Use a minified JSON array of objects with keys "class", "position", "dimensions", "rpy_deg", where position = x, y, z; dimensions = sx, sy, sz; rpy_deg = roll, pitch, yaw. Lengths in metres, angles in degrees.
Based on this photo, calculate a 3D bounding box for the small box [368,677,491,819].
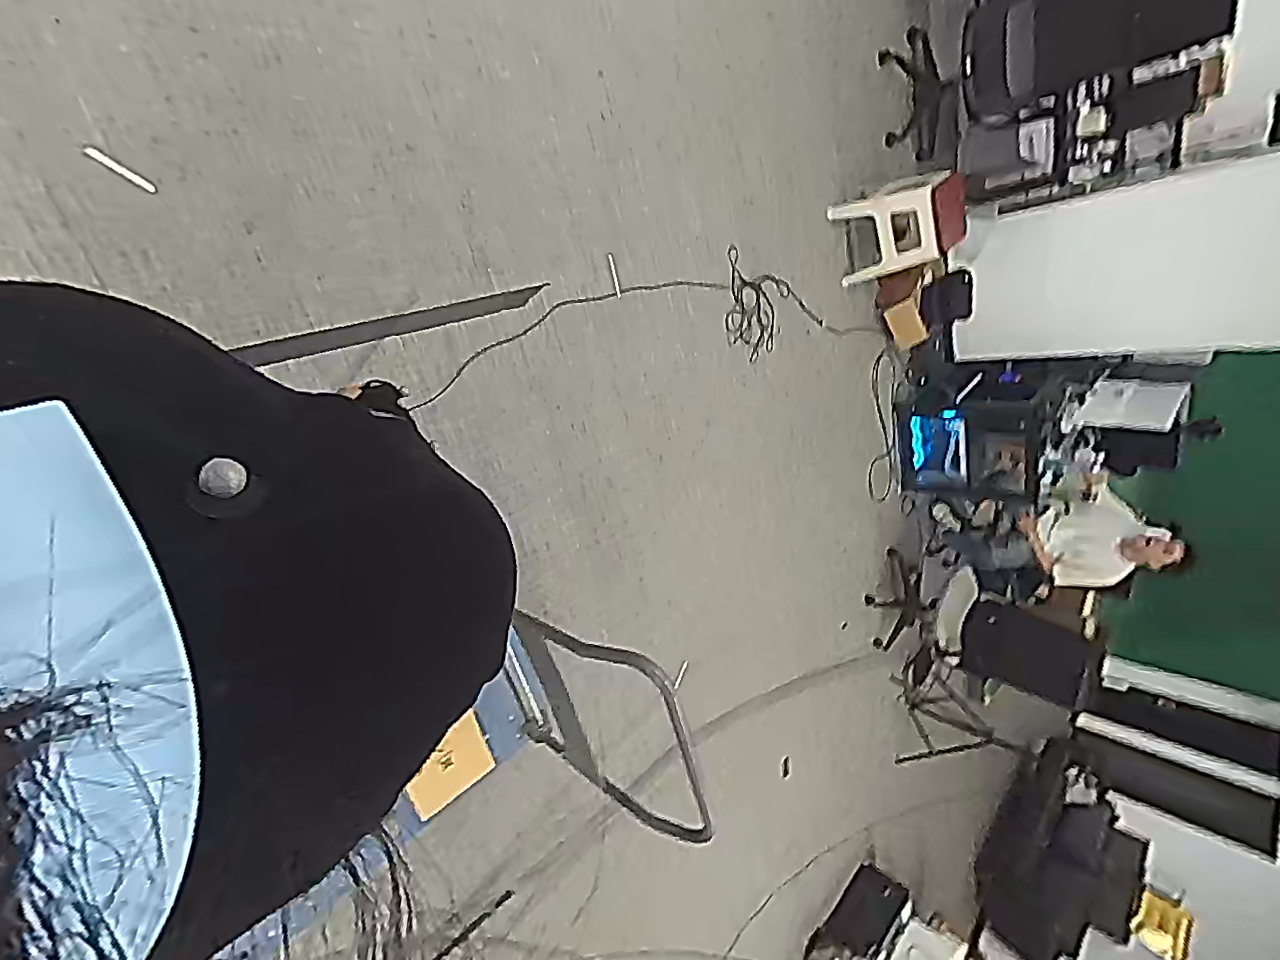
[{"class":"small box","position":[-0.448,0.557,1.150],"dimensions":[0.168,0.176,0.179],"rpy_deg":[-28,113,-35]}]
